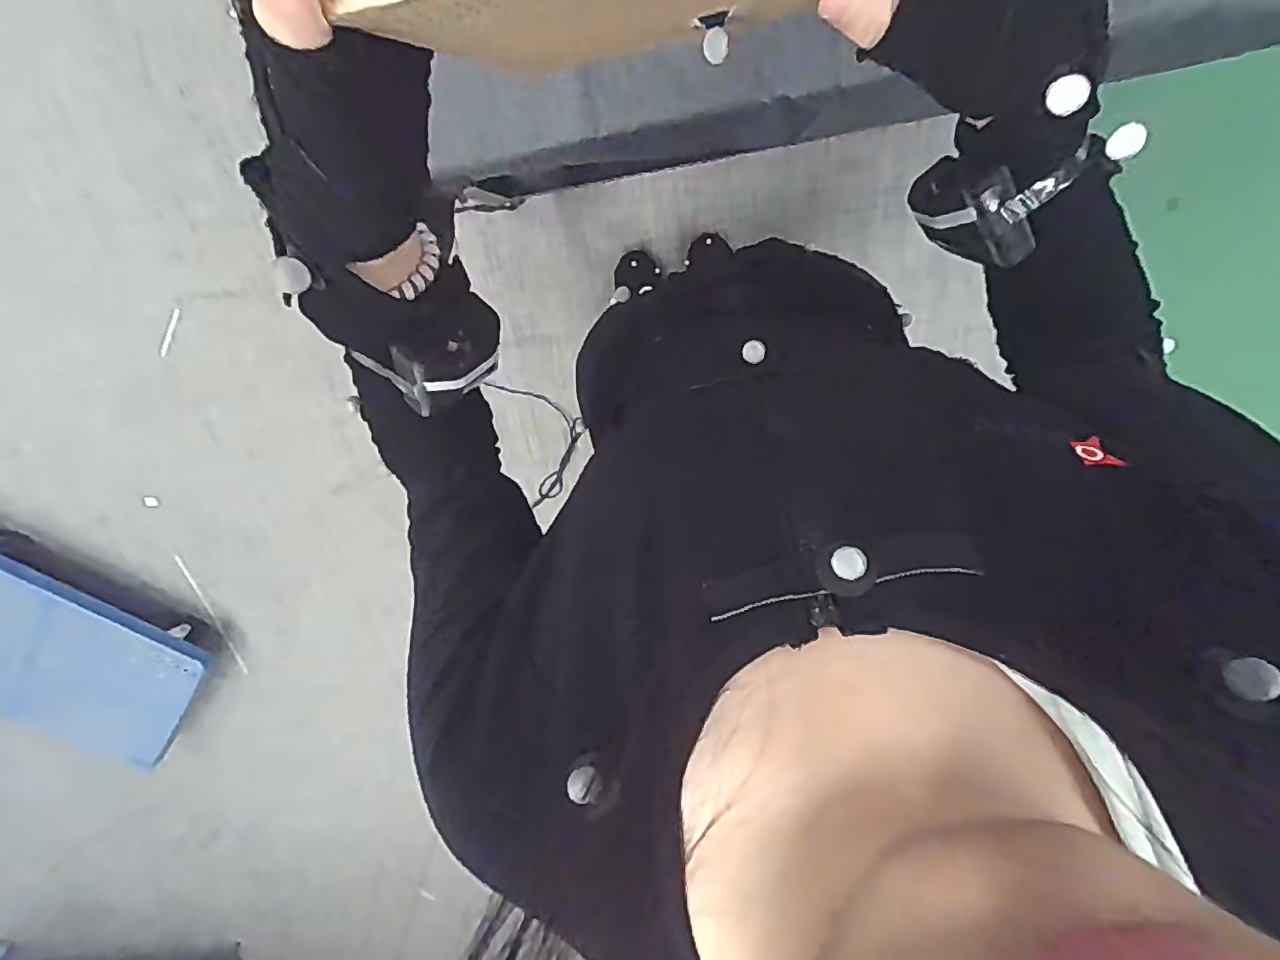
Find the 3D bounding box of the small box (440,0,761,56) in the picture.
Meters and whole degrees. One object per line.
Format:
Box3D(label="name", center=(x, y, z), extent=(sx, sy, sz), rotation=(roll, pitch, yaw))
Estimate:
Box3D(label="small box", center=(0.004, -0.246, 0.150), extent=(0.179, 0.176, 0.168), rotation=(-2, 121, 14))
